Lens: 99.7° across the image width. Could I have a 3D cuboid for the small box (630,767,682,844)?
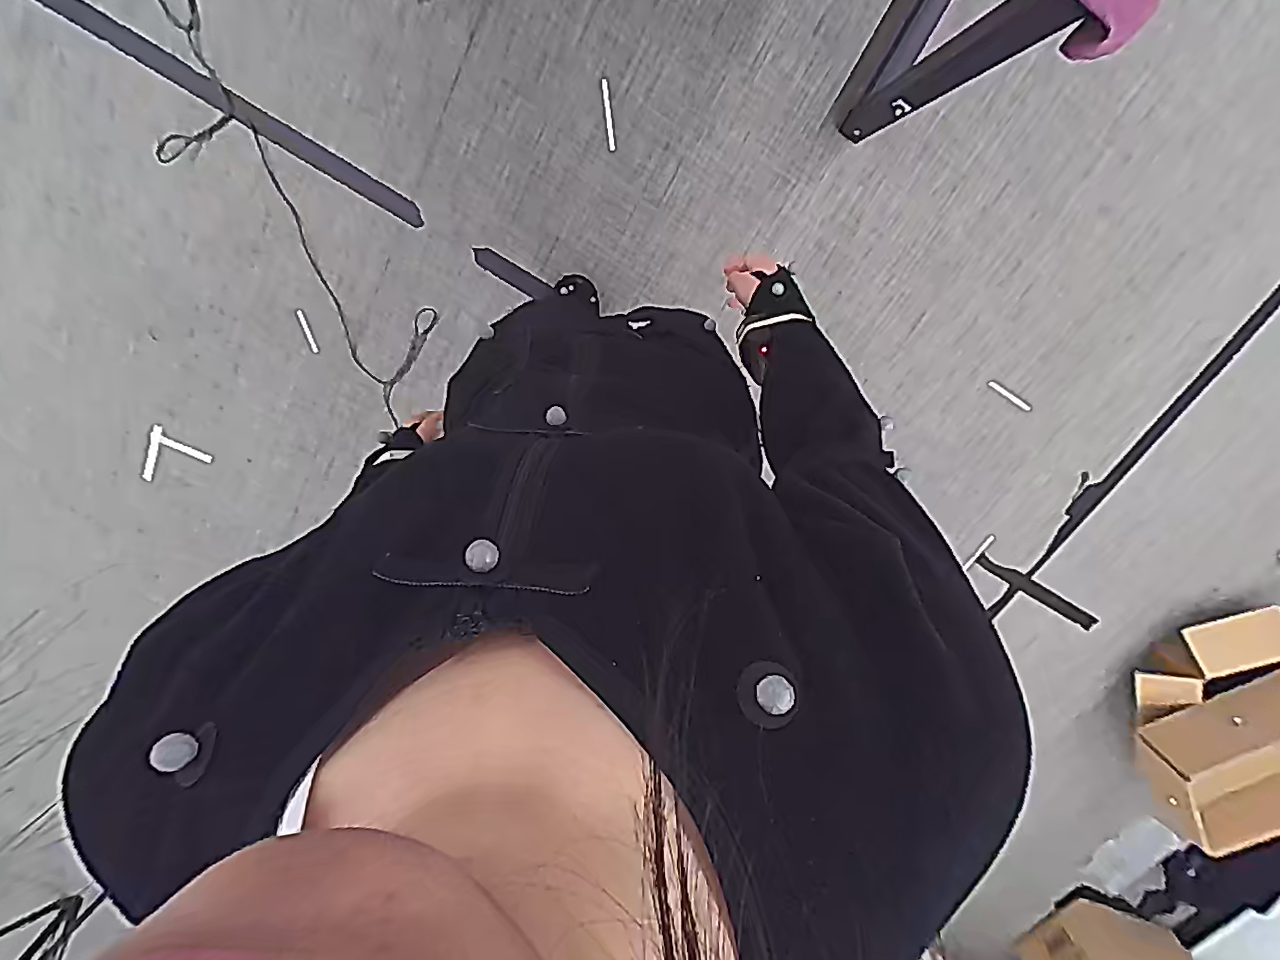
[{"bbox_3d":[0.054,1.144,1.915,0.168,0.176,0.179,-7,113,2],"label":"small box"}]
